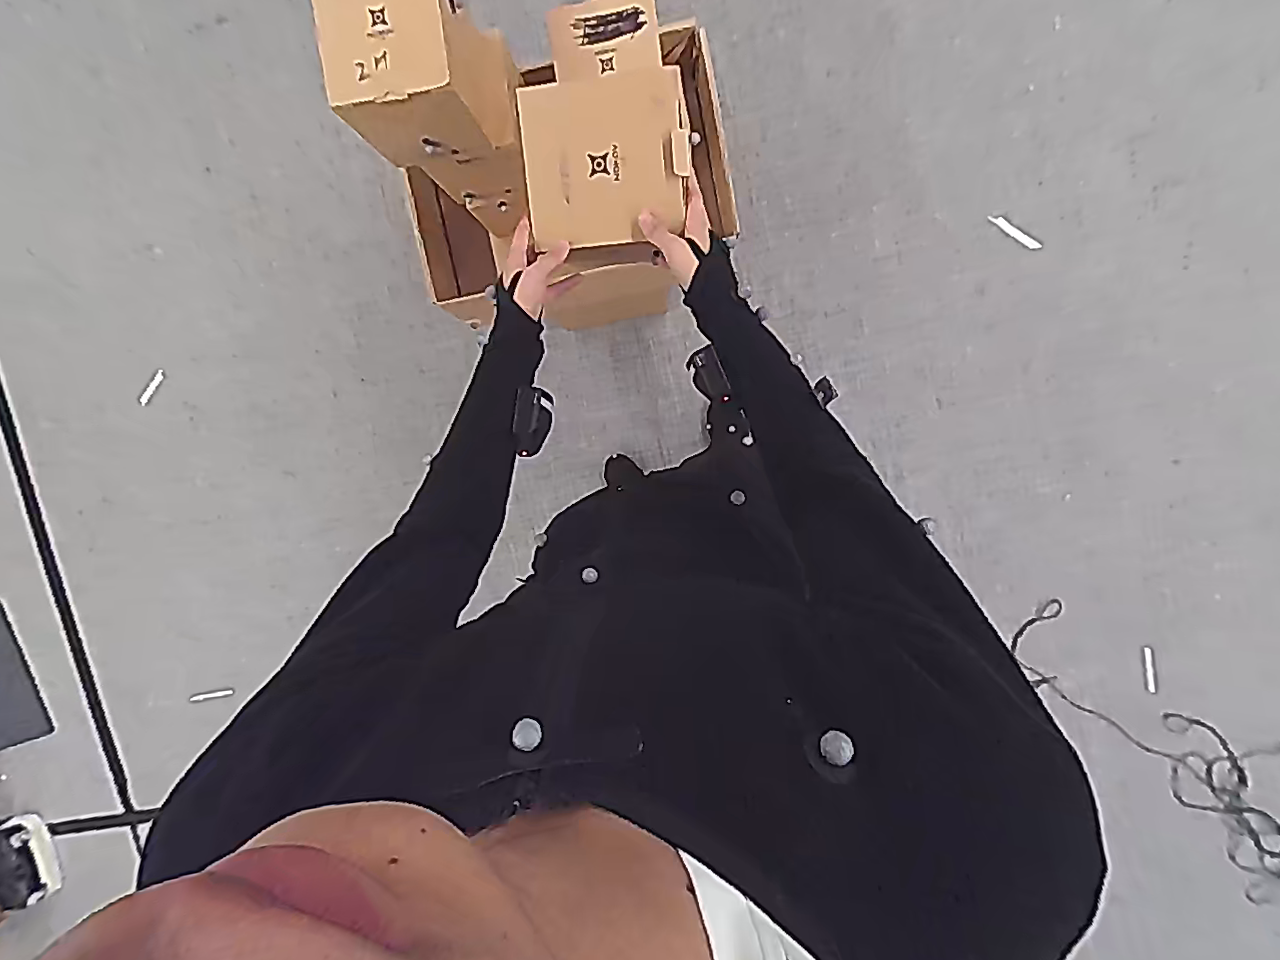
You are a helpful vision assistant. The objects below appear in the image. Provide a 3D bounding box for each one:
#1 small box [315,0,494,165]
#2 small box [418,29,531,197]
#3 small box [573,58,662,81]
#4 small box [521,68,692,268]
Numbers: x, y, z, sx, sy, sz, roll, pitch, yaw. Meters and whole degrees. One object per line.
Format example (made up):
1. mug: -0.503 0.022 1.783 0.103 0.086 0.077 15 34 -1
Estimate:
1. small box: -0.319 -0.580 0.759 0.168 0.176 0.179 -6 96 5
2. small box: -0.279 -0.604 0.920 0.168 0.176 0.179 -7 95 4
3. small box: -0.025 -0.669 1.062 0.168 0.176 0.179 -9 96 6
4. small box: -0.026 -0.360 0.658 0.179 0.176 0.168 -2 104 9
